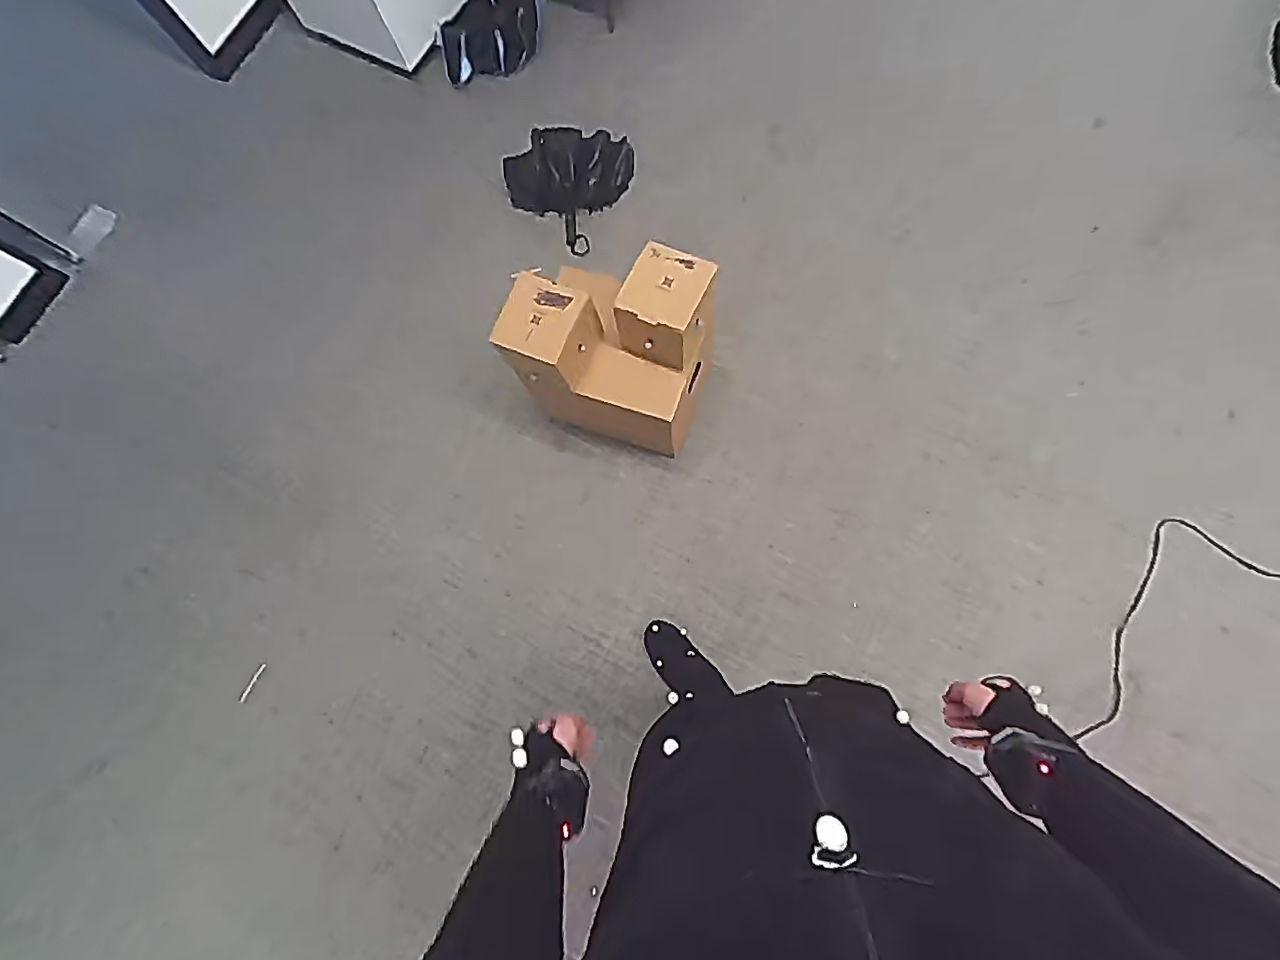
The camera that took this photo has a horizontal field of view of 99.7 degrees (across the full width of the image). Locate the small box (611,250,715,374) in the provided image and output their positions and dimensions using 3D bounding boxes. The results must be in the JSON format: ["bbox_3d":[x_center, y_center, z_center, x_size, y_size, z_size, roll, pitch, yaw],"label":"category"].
[{"bbox_3d":[0.056,-0.363,1.196,0.168,0.176,0.179,25,77,11],"label":"small box"}]

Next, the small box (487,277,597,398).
[{"bbox_3d":[-0.206,-0.311,1.205,0.168,0.176,0.179,23,81,11],"label":"small box"}]
